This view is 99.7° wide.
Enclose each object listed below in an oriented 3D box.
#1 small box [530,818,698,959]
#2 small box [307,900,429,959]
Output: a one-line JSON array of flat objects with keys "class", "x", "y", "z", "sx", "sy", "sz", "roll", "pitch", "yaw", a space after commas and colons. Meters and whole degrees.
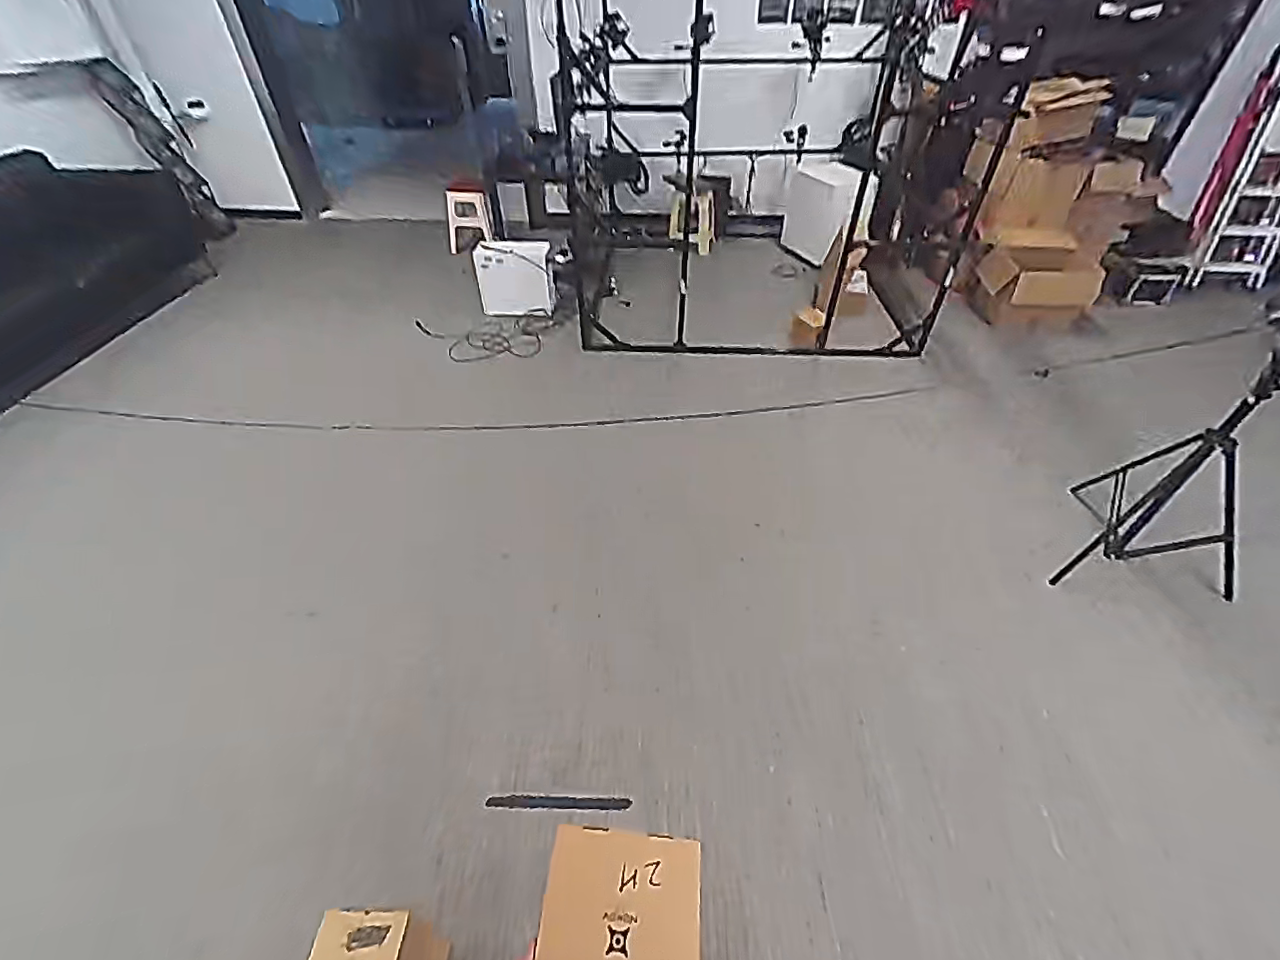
[{"class": "small box", "x": -0.029, "y": 0.507, "z": 0.612, "sx": 0.168, "sy": 0.176, "sz": 0.179, "roll": 7, "pitch": 48, "yaw": 0}, {"class": "small box", "x": -0.523, "y": 0.933, "z": 1.034, "sx": 0.168, "sy": 0.176, "sz": 0.179, "roll": 1, "pitch": 44, "yaw": 2}]
